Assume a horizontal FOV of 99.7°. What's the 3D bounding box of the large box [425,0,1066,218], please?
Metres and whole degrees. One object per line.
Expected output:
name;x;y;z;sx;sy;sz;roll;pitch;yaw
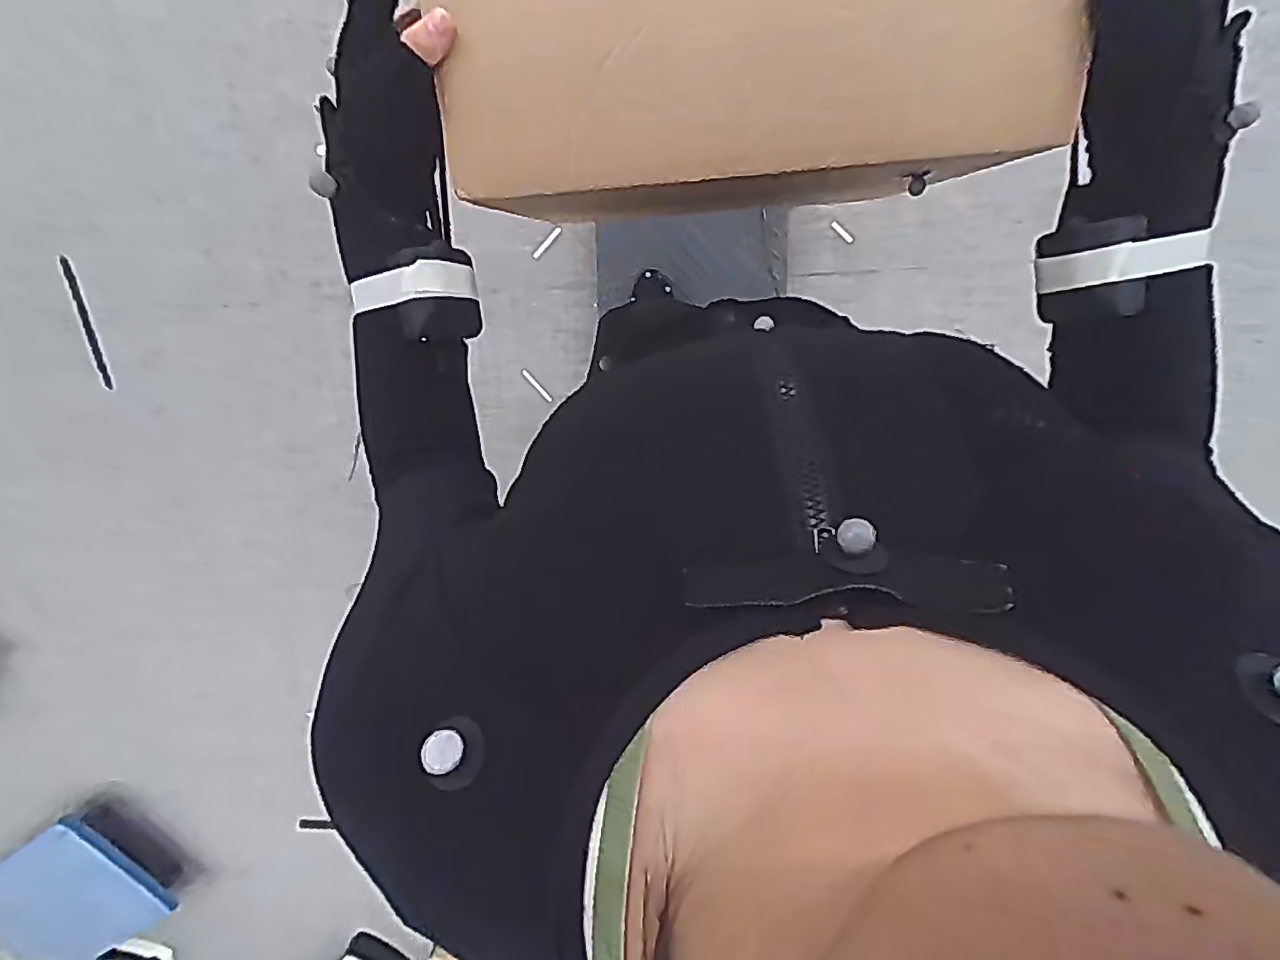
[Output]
large box;0.066;-0.410;0.451;0.408;0.320;0.320;-3;112;4
